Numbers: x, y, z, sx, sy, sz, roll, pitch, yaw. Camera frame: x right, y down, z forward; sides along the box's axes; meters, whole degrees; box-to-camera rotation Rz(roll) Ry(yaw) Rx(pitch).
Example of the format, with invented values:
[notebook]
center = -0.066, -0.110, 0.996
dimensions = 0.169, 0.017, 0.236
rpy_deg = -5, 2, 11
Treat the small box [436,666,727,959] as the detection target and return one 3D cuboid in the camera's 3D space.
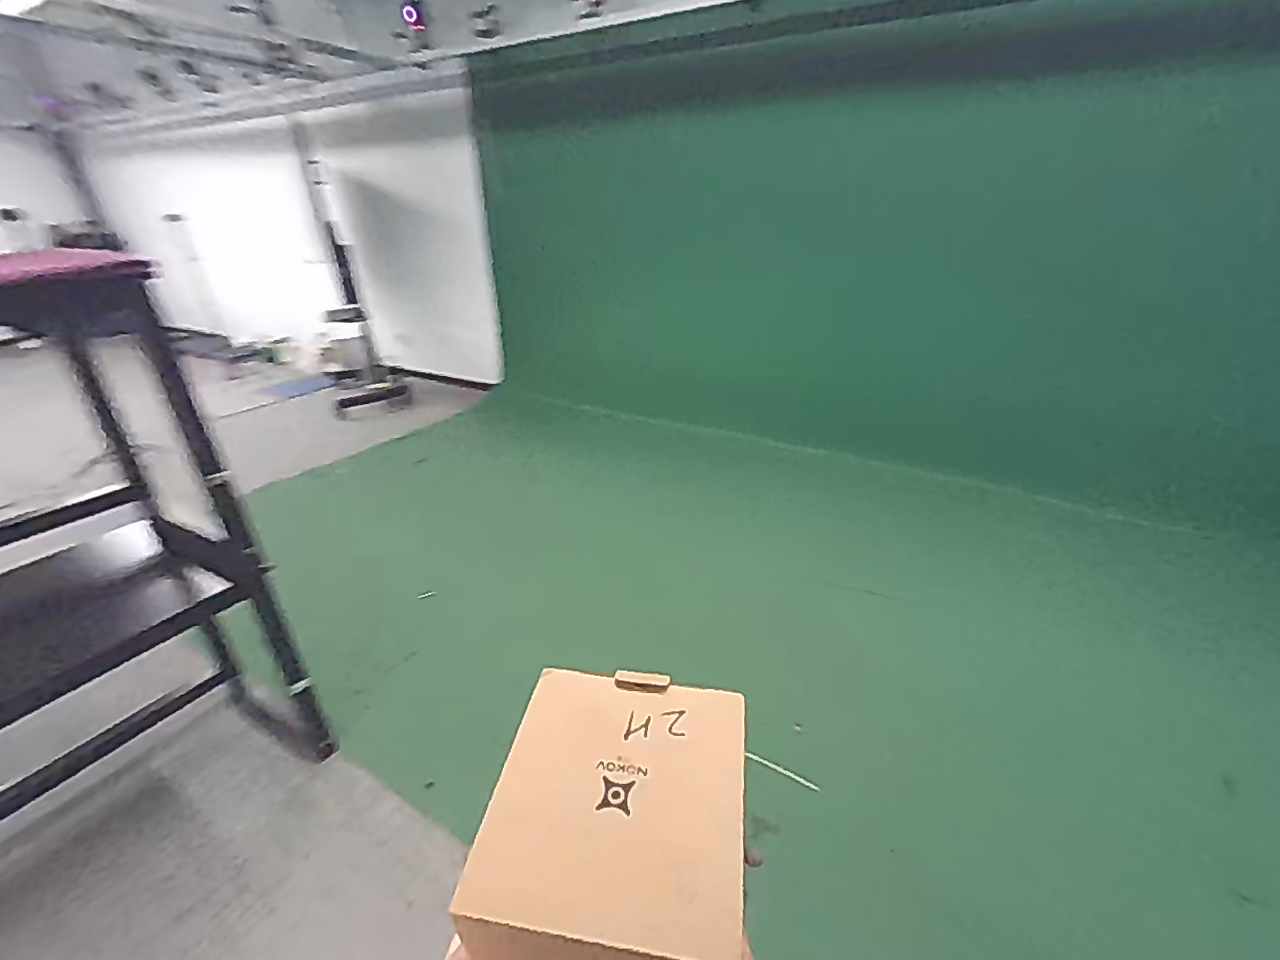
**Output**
[small box]
center = -0.023, 0.273, 0.408
dimensions = 0.168, 0.176, 0.179
rpy_deg = 4, 30, 8
